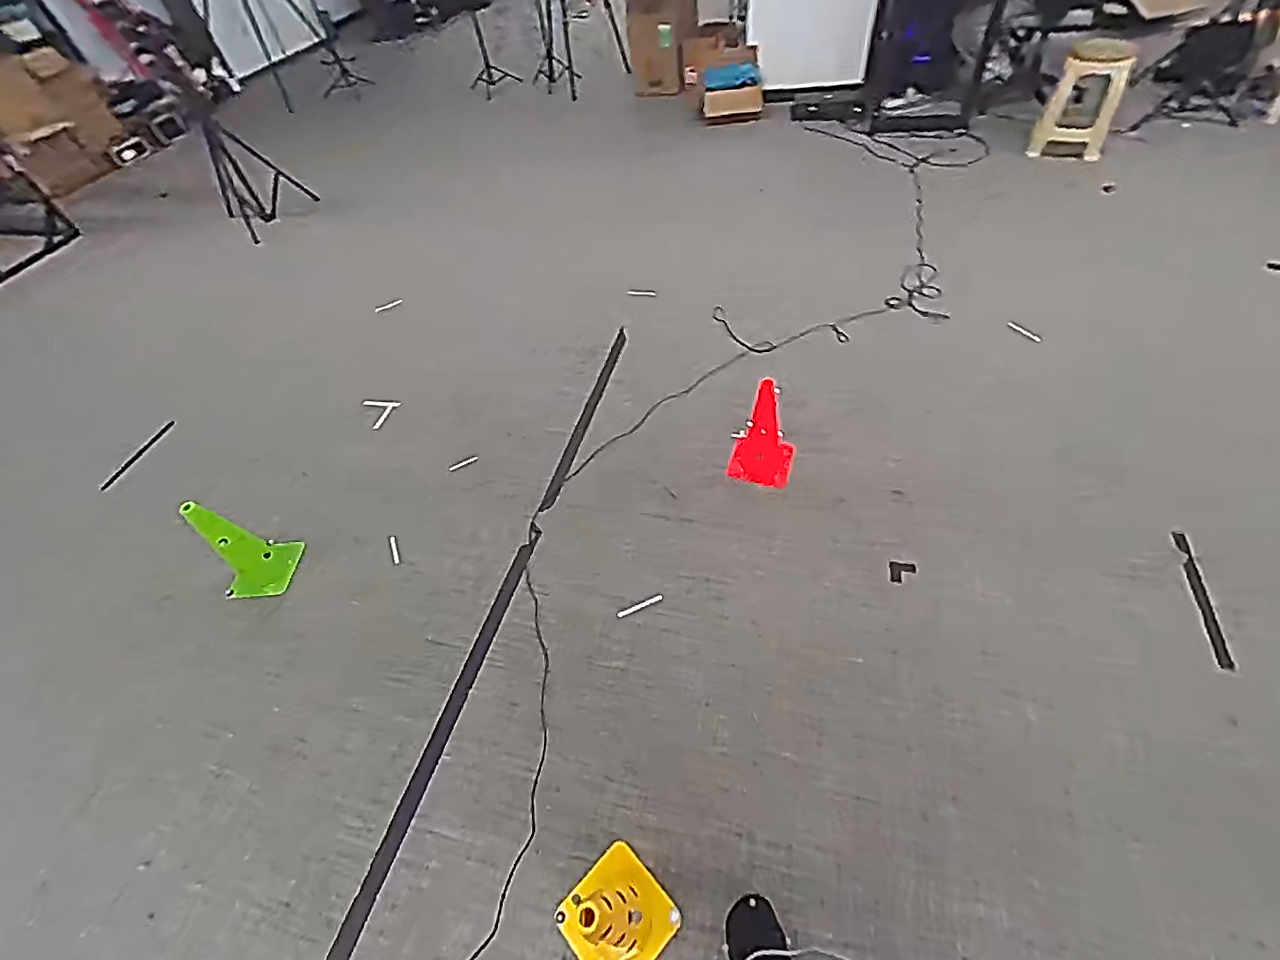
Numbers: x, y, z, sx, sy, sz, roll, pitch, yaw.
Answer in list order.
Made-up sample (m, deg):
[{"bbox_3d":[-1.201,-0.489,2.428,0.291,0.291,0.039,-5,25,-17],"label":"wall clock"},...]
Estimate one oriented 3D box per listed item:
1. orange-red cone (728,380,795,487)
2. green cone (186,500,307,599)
[{"bbox_3d":[0.395,-0.171,1.718,0.198,0.360,0.199,13,55,19],"label":"orange-red cone"},{"bbox_3d":[-1.254,0.191,1.676,0.200,0.368,0.202,-5,49,4],"label":"green cone"}]
